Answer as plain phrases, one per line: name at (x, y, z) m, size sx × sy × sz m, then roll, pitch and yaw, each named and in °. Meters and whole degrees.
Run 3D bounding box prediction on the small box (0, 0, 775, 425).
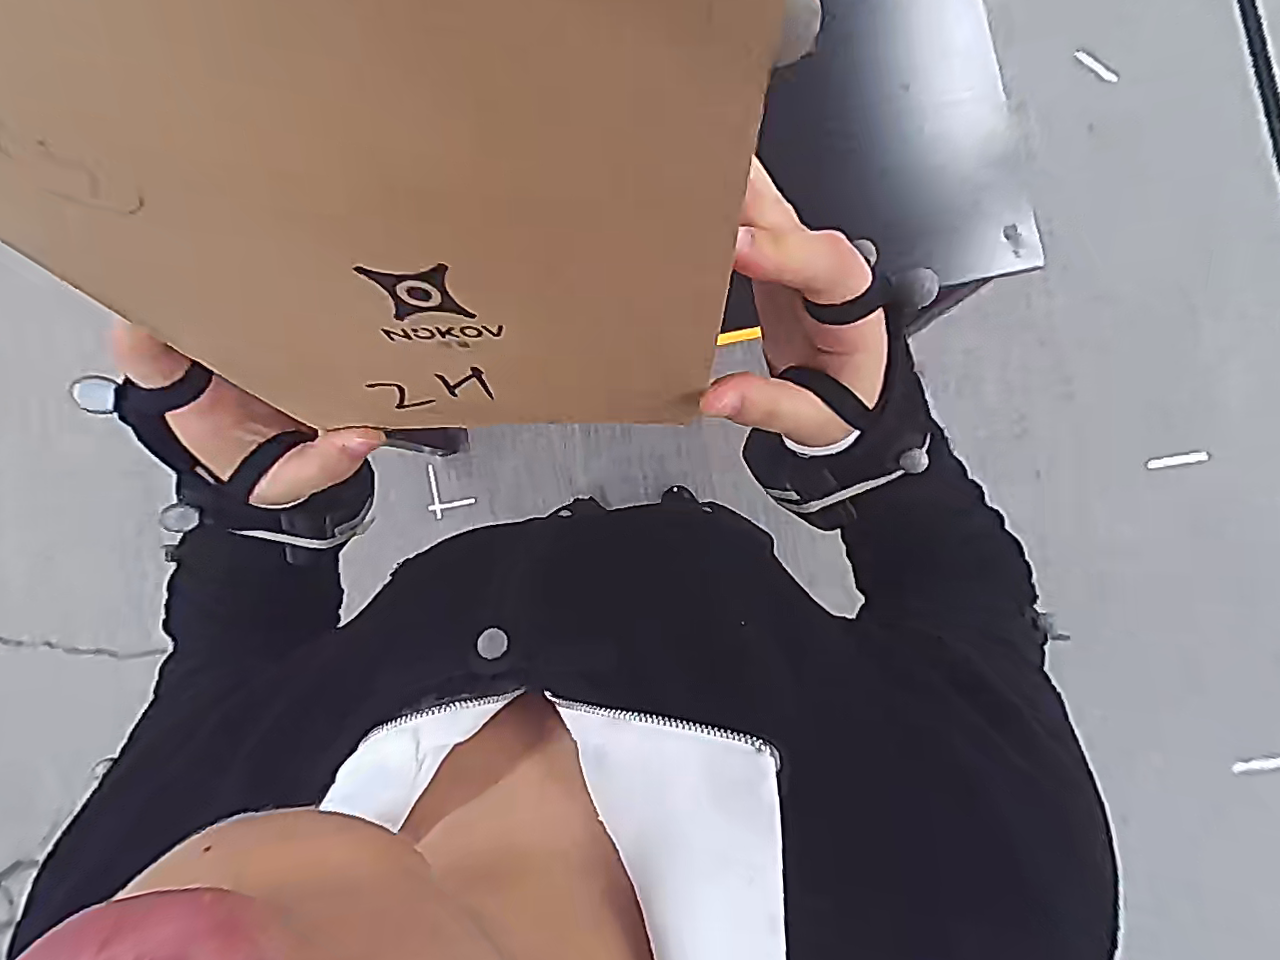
small box at (-0.059, -0.129, 0.177) m, size 0.168 × 0.179 × 0.176 m, roll 0°, pitch 73°, yaw 1°
